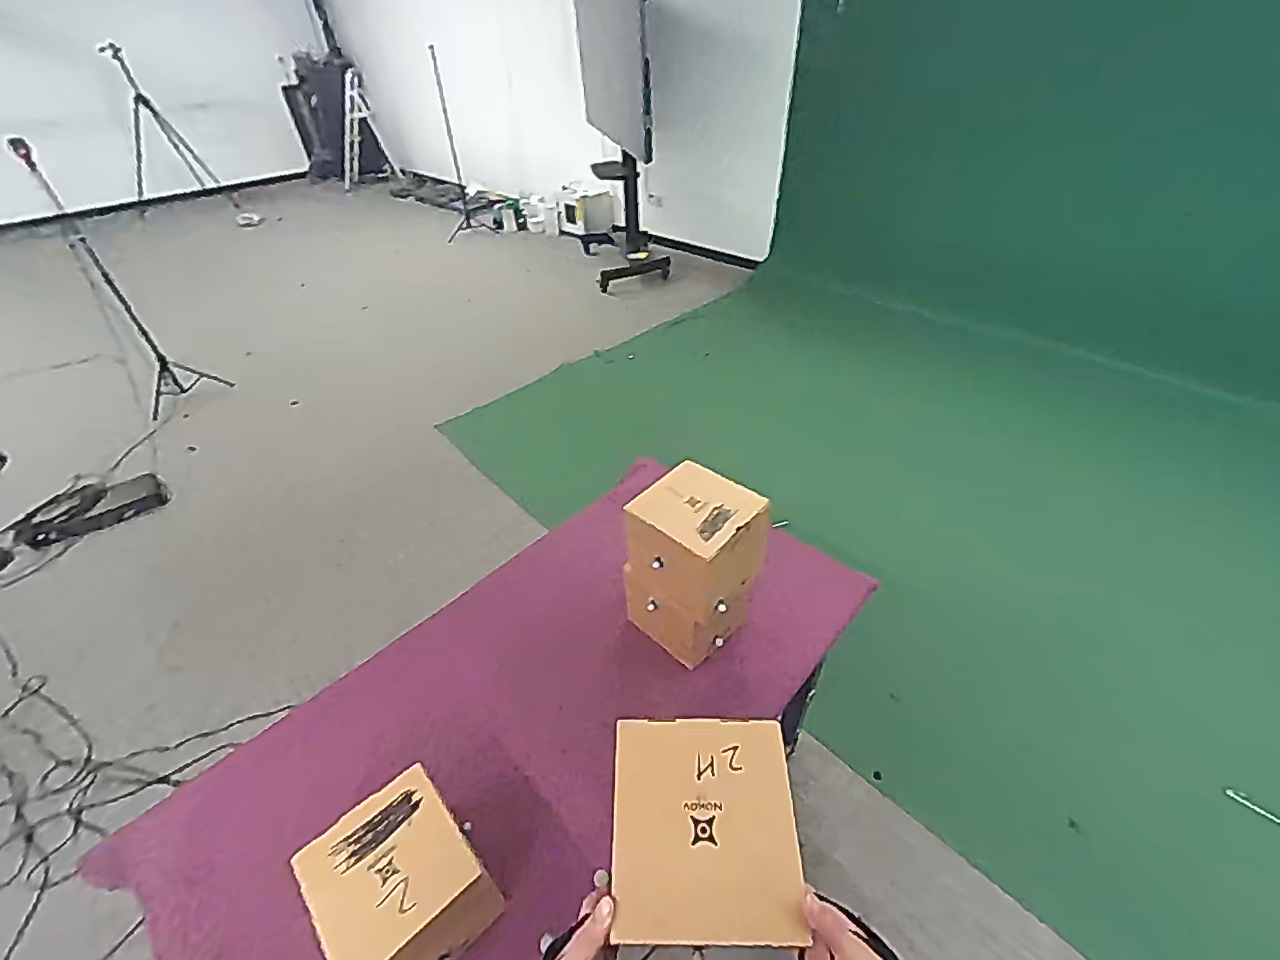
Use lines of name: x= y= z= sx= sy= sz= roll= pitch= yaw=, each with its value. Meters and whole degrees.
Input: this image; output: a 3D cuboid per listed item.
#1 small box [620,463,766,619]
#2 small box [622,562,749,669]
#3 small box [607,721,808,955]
small box: x=0.090 y=0.107 z=0.917 sx=0.179 sy=0.176 sz=0.168 roll=30 pitch=51 yaw=34
small box: x=0.085 y=0.222 z=1.034 sx=0.168 sy=0.176 sz=0.179 roll=-34 pitch=49 yaw=-30
small box: x=0.060 y=0.363 z=0.550 sx=0.168 sy=0.176 sz=0.179 roll=1 pitch=49 yaw=2
